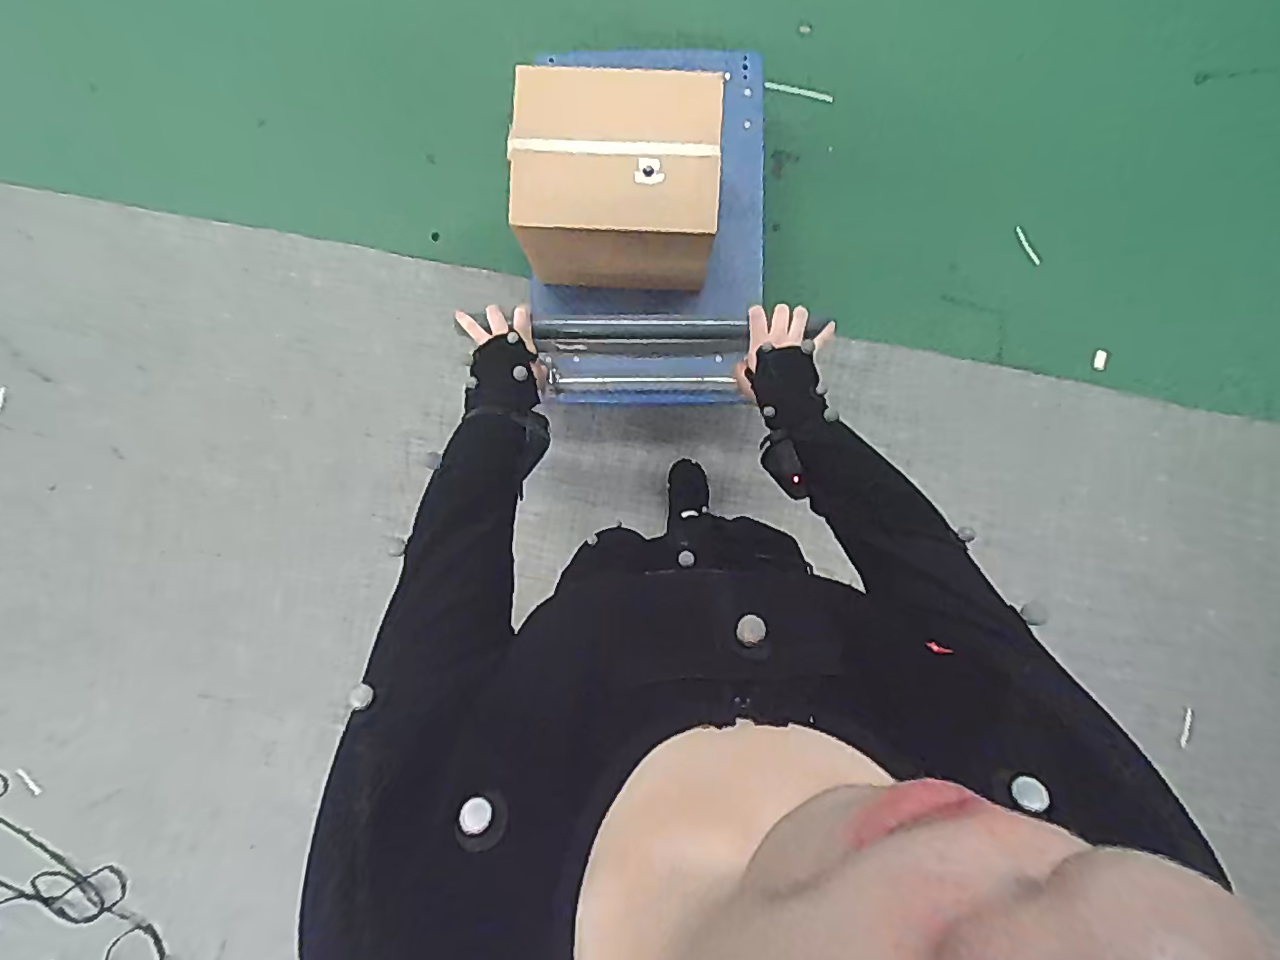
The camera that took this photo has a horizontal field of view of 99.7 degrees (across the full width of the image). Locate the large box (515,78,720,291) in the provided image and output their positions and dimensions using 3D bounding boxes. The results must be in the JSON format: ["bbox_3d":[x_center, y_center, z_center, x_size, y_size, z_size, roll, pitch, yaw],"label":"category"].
[{"bbox_3d":[-0.046,-0.633,1.211,0.408,0.320,0.320,2,89,0],"label":"large box"}]
